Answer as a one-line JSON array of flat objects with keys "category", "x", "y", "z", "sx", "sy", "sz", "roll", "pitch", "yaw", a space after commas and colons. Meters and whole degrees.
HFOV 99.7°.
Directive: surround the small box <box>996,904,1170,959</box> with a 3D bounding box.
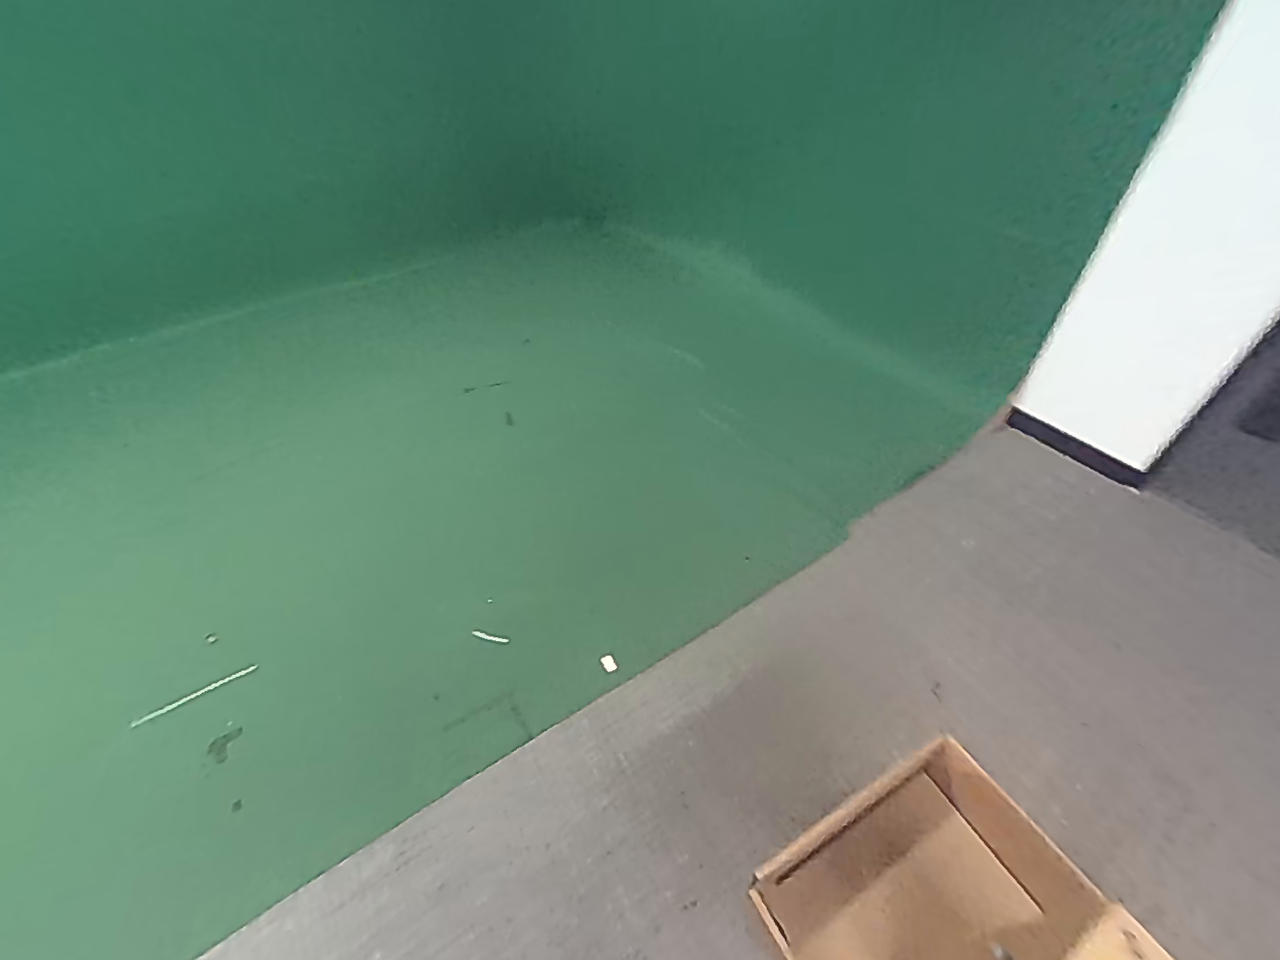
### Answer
[{"category": "small box", "x": 0.462, "y": 0.575, "z": 0.541, "sx": 0.179, "sy": 0.176, "sz": 0.168, "roll": -25, "pitch": 51, "yaw": -18}]
